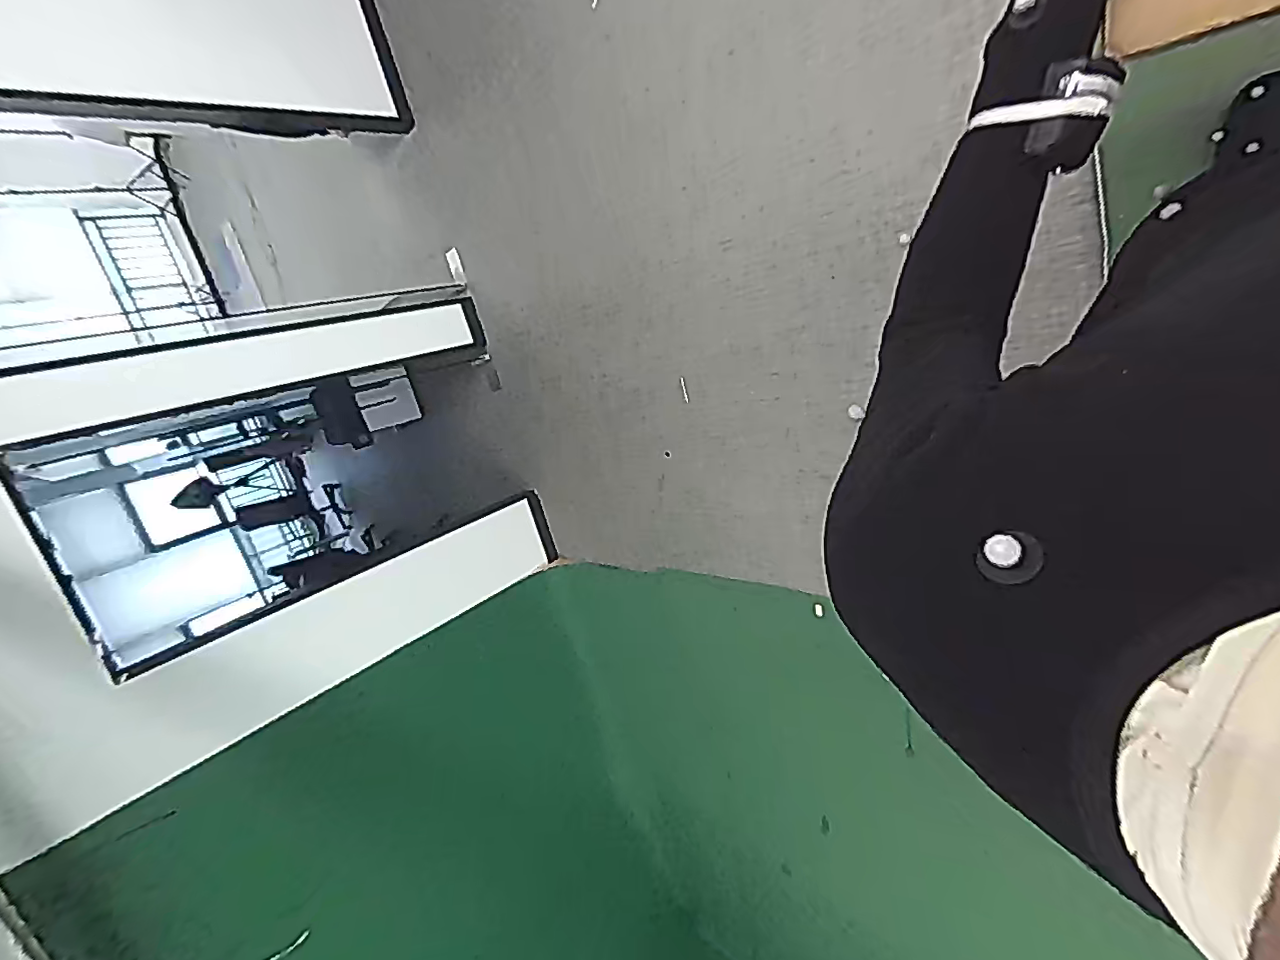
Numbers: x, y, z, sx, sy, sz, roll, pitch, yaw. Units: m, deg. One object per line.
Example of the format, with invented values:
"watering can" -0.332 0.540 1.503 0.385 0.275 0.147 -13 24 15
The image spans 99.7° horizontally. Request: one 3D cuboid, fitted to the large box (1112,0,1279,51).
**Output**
"large box" 0.543 -0.510 0.299 0.408 0.320 0.320 7 124 43
